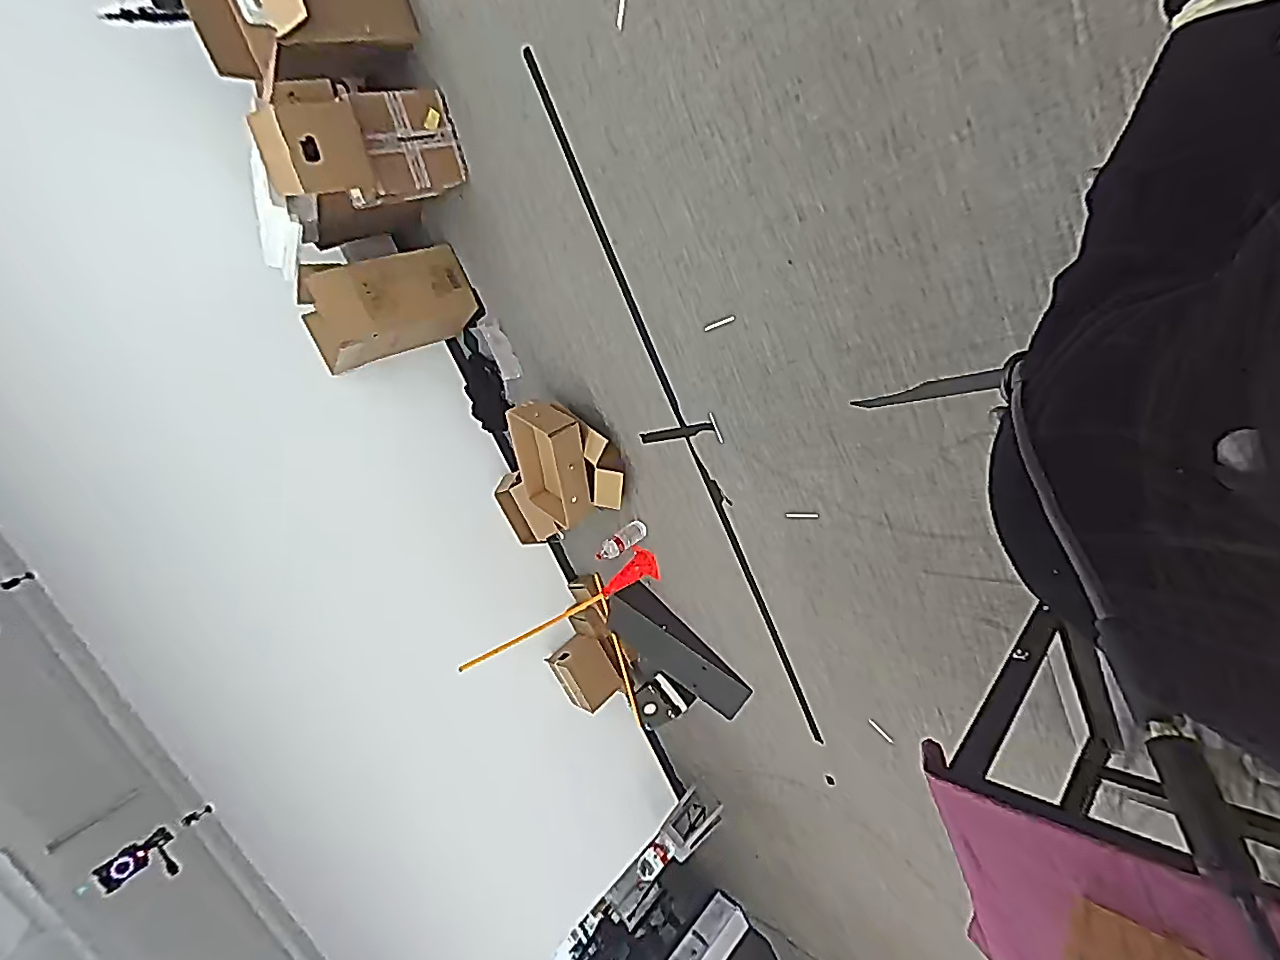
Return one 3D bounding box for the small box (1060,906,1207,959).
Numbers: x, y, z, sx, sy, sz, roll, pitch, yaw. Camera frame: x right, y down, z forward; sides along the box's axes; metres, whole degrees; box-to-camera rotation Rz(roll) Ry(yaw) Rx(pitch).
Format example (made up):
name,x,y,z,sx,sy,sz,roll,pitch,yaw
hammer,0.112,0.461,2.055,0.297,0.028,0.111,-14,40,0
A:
name,x,y,z,sx,sy,sz,roll,pitch,yaw
small box,0.851,0.886,0.923,0.179,0.176,0.168,-2,116,54
